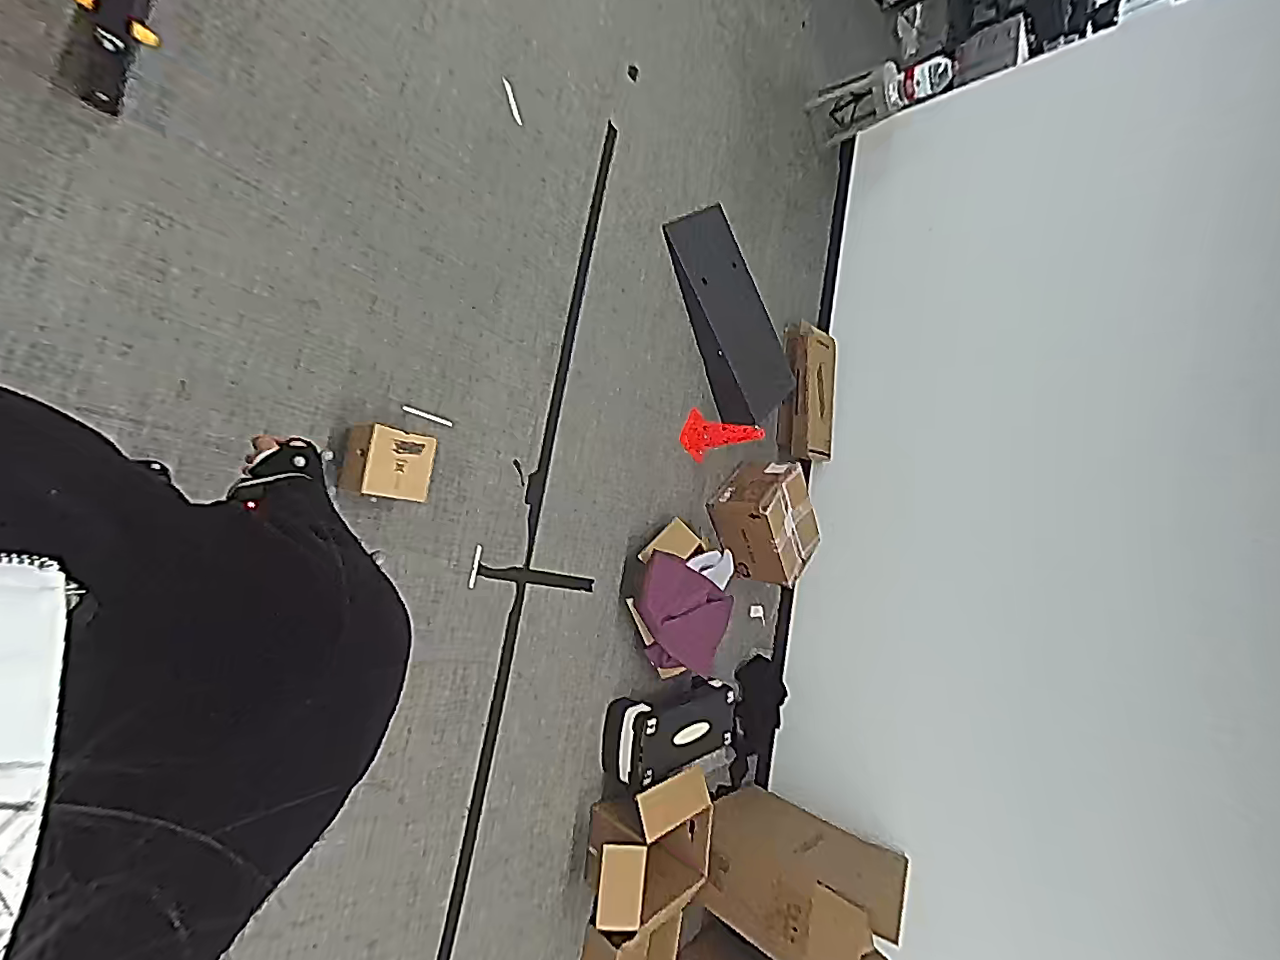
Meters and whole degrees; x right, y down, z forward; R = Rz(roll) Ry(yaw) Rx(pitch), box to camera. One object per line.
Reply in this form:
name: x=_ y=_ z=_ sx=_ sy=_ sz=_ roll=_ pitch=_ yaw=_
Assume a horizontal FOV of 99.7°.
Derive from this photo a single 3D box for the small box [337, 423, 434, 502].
small box: x=-0.674 y=-0.044 z=1.427 sx=0.168 sy=0.176 sz=0.179 roll=15 pitch=81 yaw=-47
